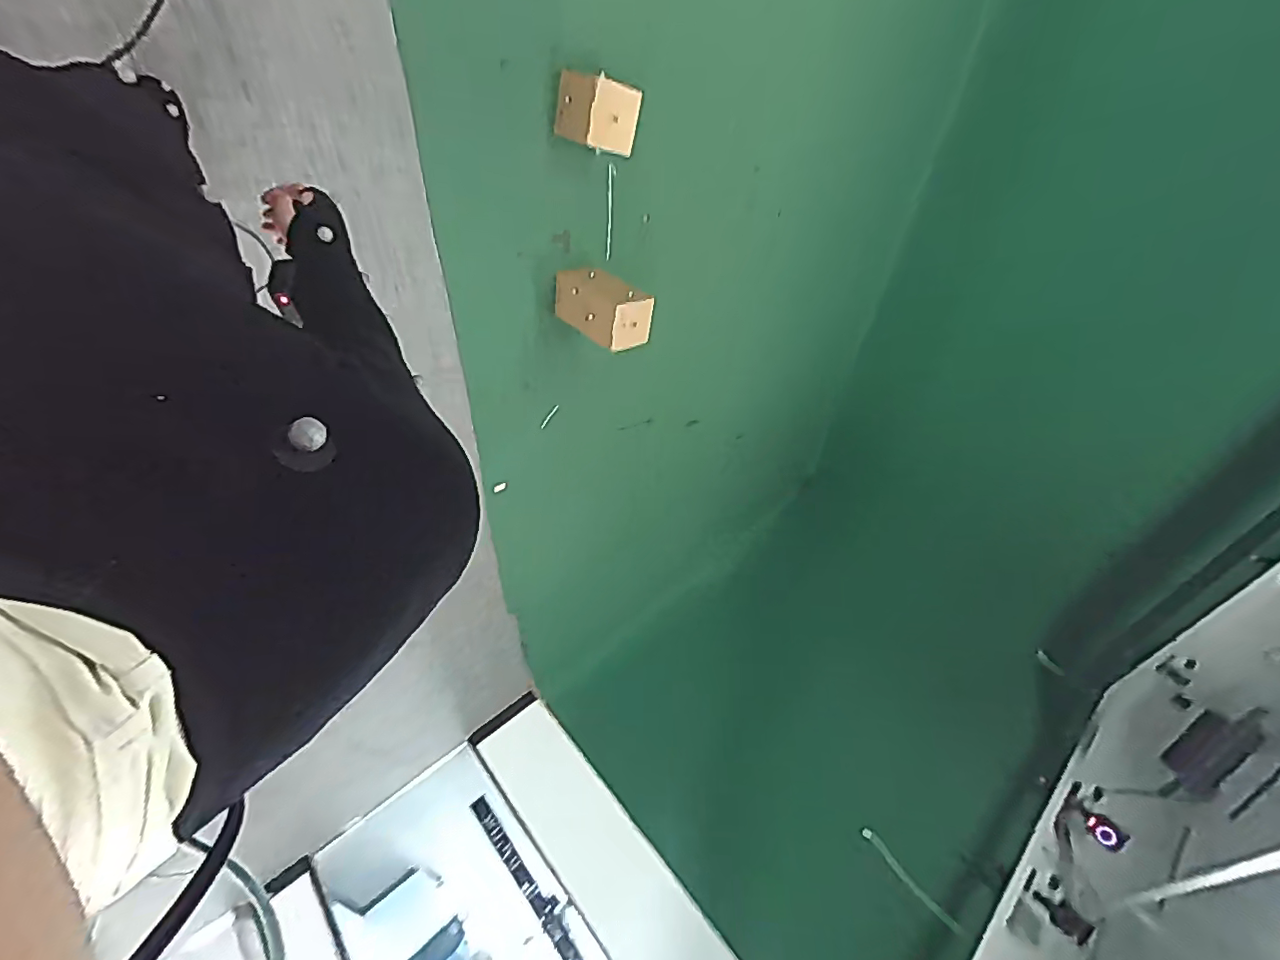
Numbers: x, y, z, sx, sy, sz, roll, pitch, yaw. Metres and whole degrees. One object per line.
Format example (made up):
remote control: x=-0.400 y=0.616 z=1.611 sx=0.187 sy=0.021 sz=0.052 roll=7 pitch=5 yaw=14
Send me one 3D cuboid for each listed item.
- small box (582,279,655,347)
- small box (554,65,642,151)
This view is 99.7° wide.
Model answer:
small box: x=-0.078 y=-0.588 z=1.883 sx=0.179 sy=0.176 sz=0.168 roll=-25 pitch=140 yaw=-36
small box: x=-0.129 y=-1.104 z=1.605 sx=0.179 sy=0.176 sz=0.168 roll=-16 pitch=135 yaw=-41
